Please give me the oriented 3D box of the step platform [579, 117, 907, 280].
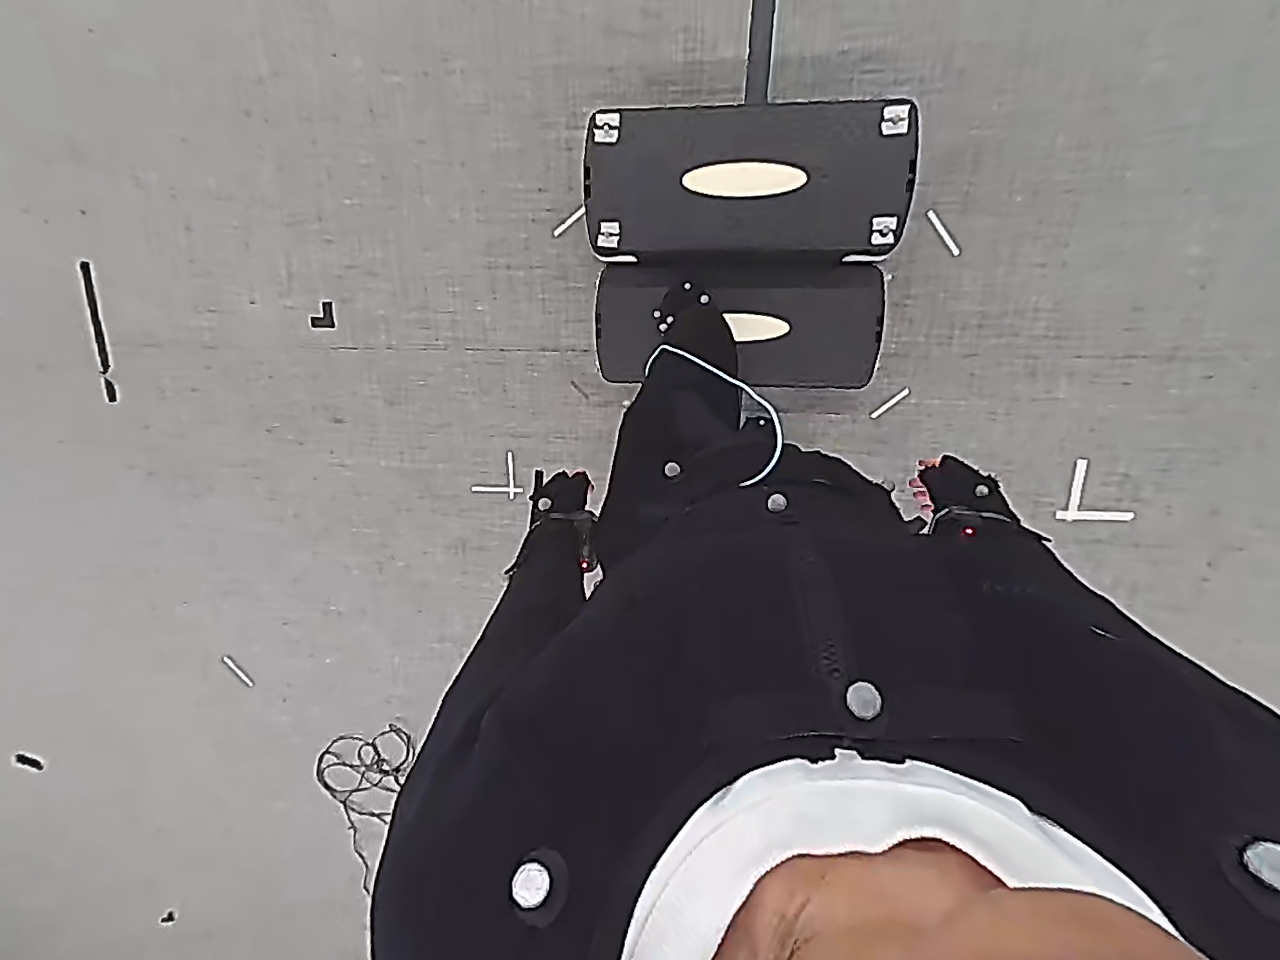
[{"bbox_3d":[0.208,-0.604,1.193,0.684,0.204,0.286,2,106,6],"label":"step platform"}]
